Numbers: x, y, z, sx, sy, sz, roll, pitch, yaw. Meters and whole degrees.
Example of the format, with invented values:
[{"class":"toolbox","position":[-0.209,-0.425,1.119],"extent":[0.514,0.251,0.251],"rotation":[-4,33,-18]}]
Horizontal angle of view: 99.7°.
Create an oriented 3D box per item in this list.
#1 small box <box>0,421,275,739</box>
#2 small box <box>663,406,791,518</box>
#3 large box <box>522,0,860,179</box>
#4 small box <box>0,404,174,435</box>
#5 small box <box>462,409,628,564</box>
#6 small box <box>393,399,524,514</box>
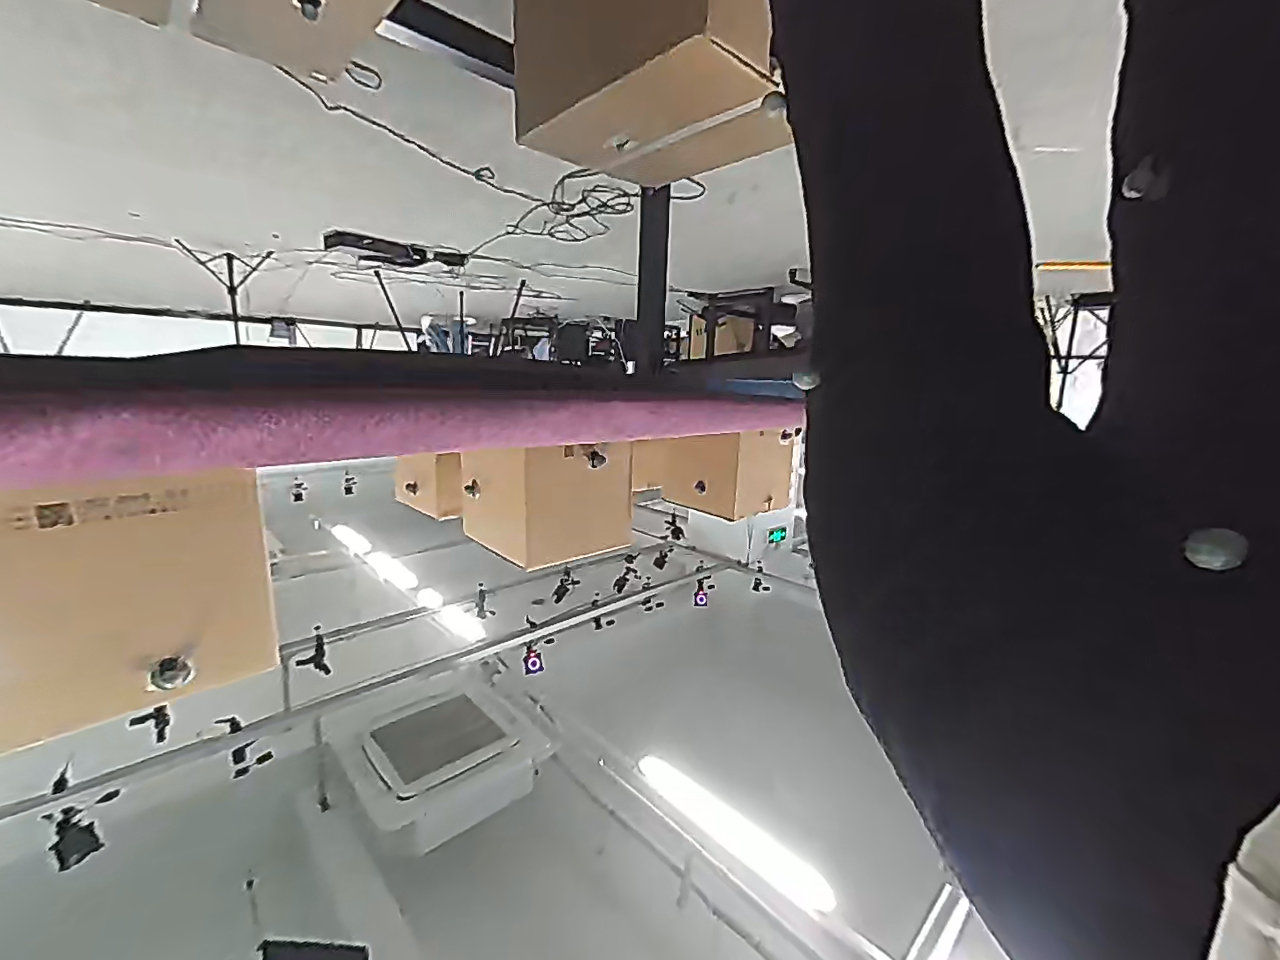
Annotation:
[{"class":"small box","position":[-0.397,0.050,0.405],"extent":[0.179,0.176,0.168],"rotation":[16,-161,42]},{"class":"small box","position":[0.159,-0.042,0.985],"extent":[0.168,0.176,0.179],"rotation":[-7,-165,-42]},{"class":"large box","position":[0.059,-0.681,0.779],"extent":[0.320,0.320,0.408],"rotation":[-6,-165,-41]},{"class":"small box","position":[-0.629,0.003,0.612],"extent":[0.179,0.176,0.168],"rotation":[11,-164,44]},{"class":"small box","position":[-0.126,-0.005,0.730],"extent":[0.168,0.176,0.179],"rotation":[-9,-164,-41]},{"class":"small box","position":[-0.304,-0.049,0.916],"extent":[0.168,0.176,0.179],"rotation":[-7,-167,-43]}]
